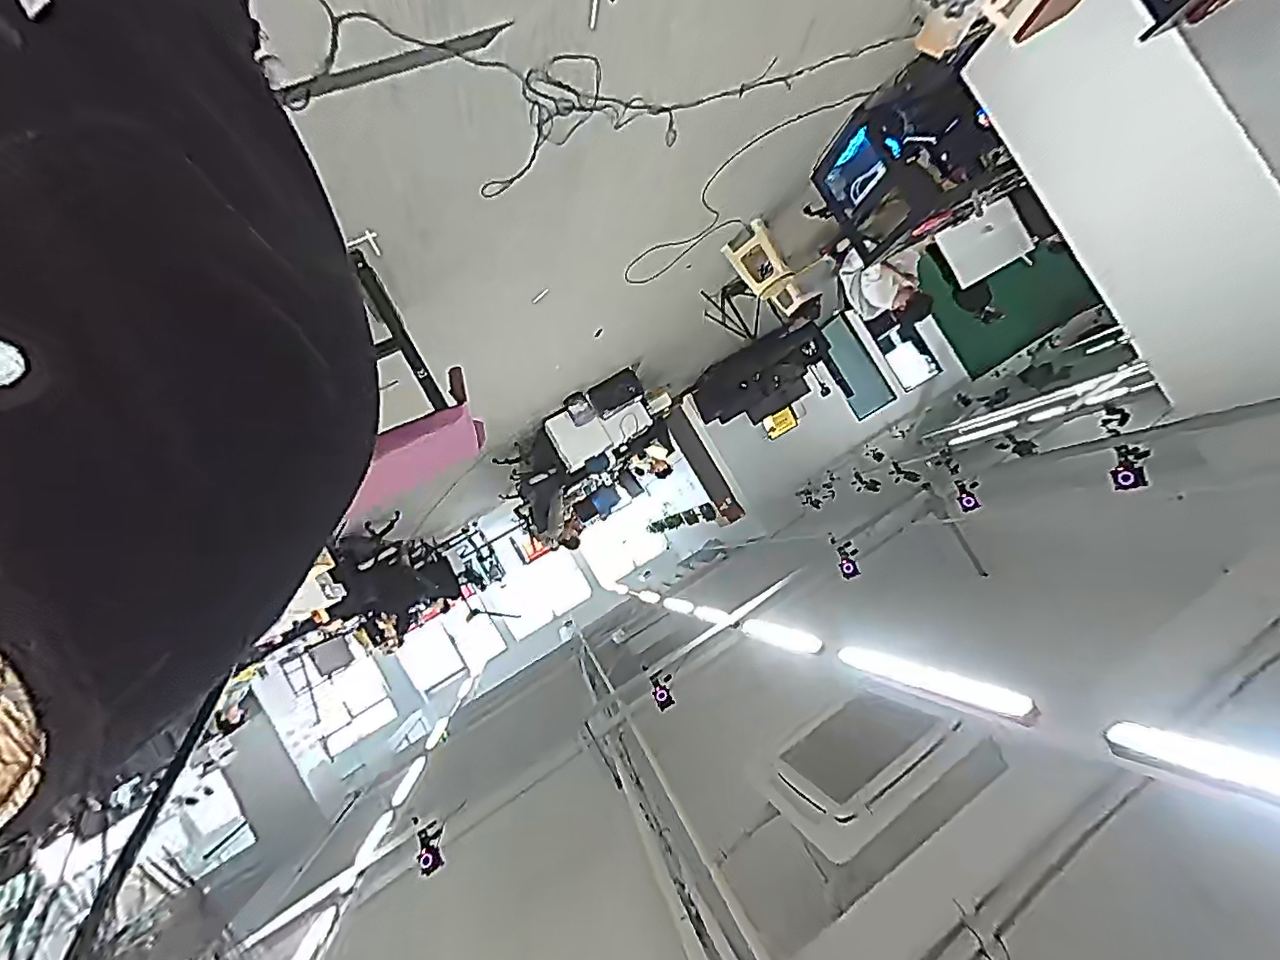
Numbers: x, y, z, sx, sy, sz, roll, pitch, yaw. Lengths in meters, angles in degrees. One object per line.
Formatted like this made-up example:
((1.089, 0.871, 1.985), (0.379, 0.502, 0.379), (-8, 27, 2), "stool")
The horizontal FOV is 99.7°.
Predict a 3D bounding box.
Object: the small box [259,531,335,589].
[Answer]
((-1.356, 0.316, 2.143), (0.168, 0.176, 0.179), (-31, 176, -15), "small box")
